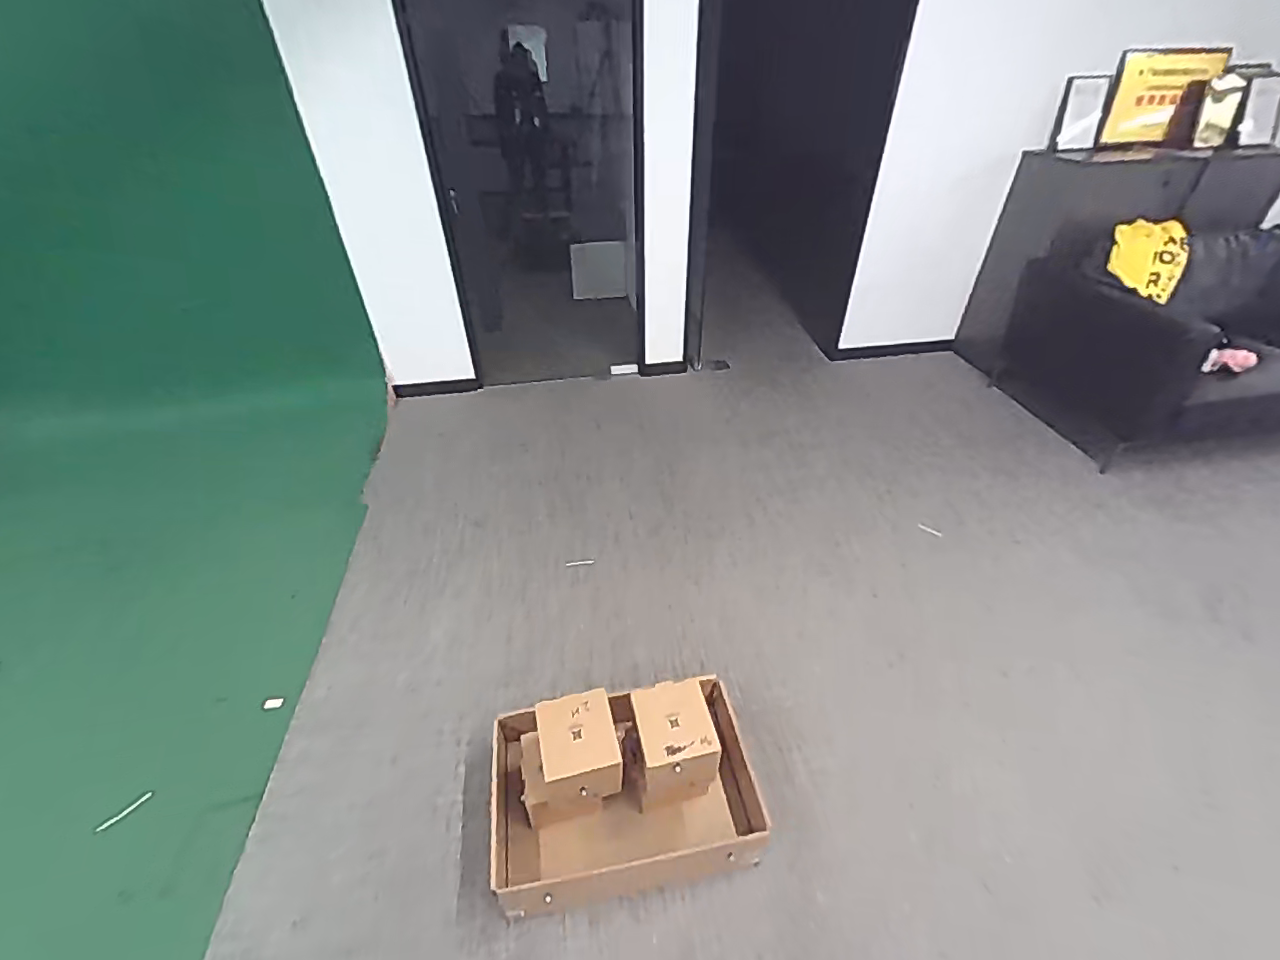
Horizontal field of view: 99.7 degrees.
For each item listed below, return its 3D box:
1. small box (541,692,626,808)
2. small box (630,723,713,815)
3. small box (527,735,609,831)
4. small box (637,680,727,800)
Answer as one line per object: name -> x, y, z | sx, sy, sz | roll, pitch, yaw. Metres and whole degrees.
small box -> -0.127, 0.620, 1.232 | 0.168, 0.176, 0.179 | -9, 41, -12
small box -> 0.084, 0.712, 1.368 | 0.179, 0.176, 0.168 | -12, 41, -12
small box -> -0.177, 0.741, 1.342 | 0.179, 0.176, 0.168 | -8, 41, -11
small box -> 0.091, 0.599, 1.248 | 0.168, 0.176, 0.179 | -10, 40, -8
